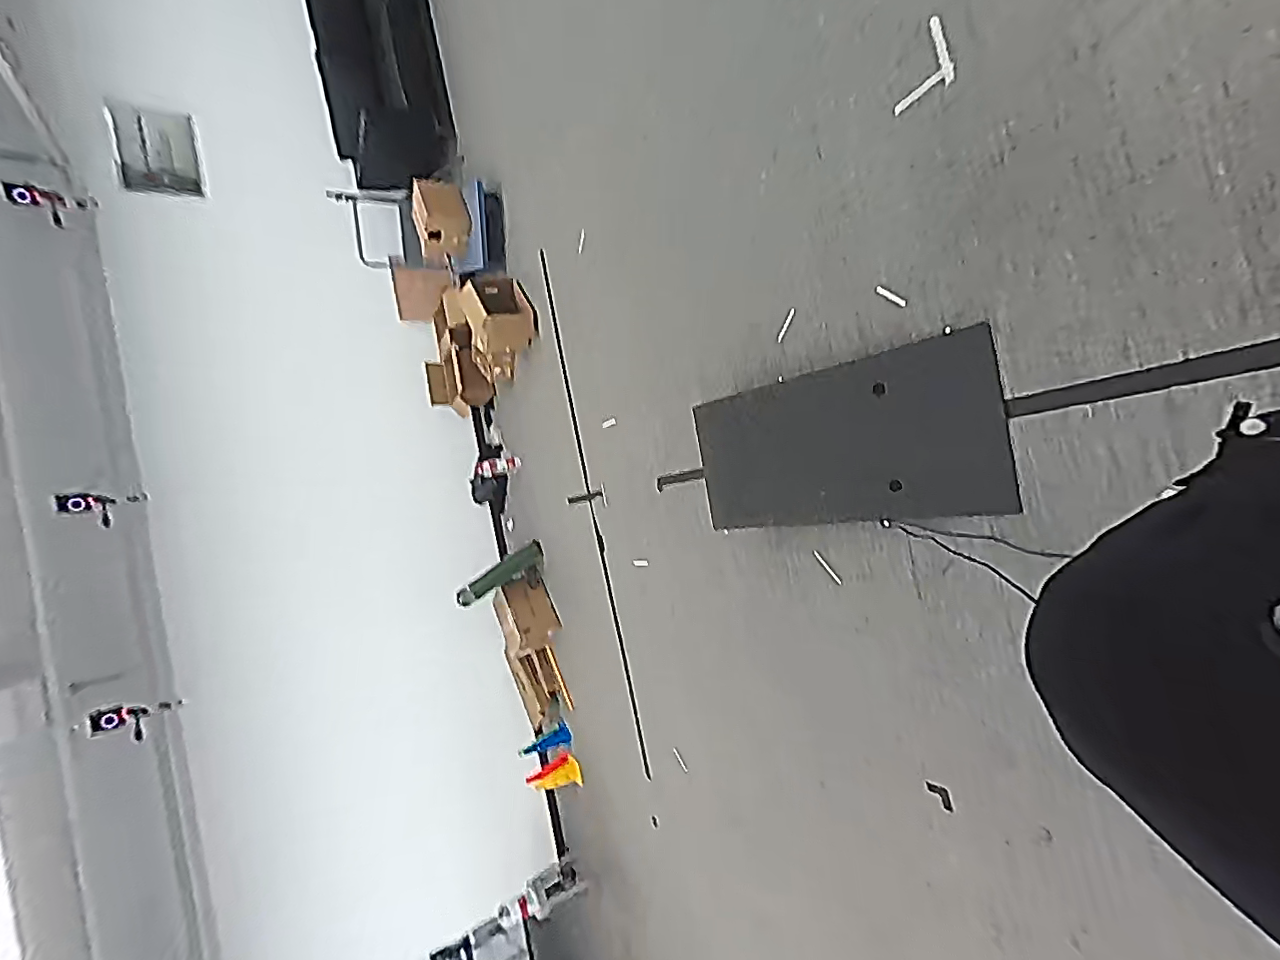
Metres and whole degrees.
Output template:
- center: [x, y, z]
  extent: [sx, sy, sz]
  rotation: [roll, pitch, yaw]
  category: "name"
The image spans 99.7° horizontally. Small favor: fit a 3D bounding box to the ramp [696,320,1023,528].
- center: [0.590, -0.113, 1.718]
  extent: [0.991, 0.206, 0.509]
  rotation: [-13, 87, 58]
  category: "ramp"
